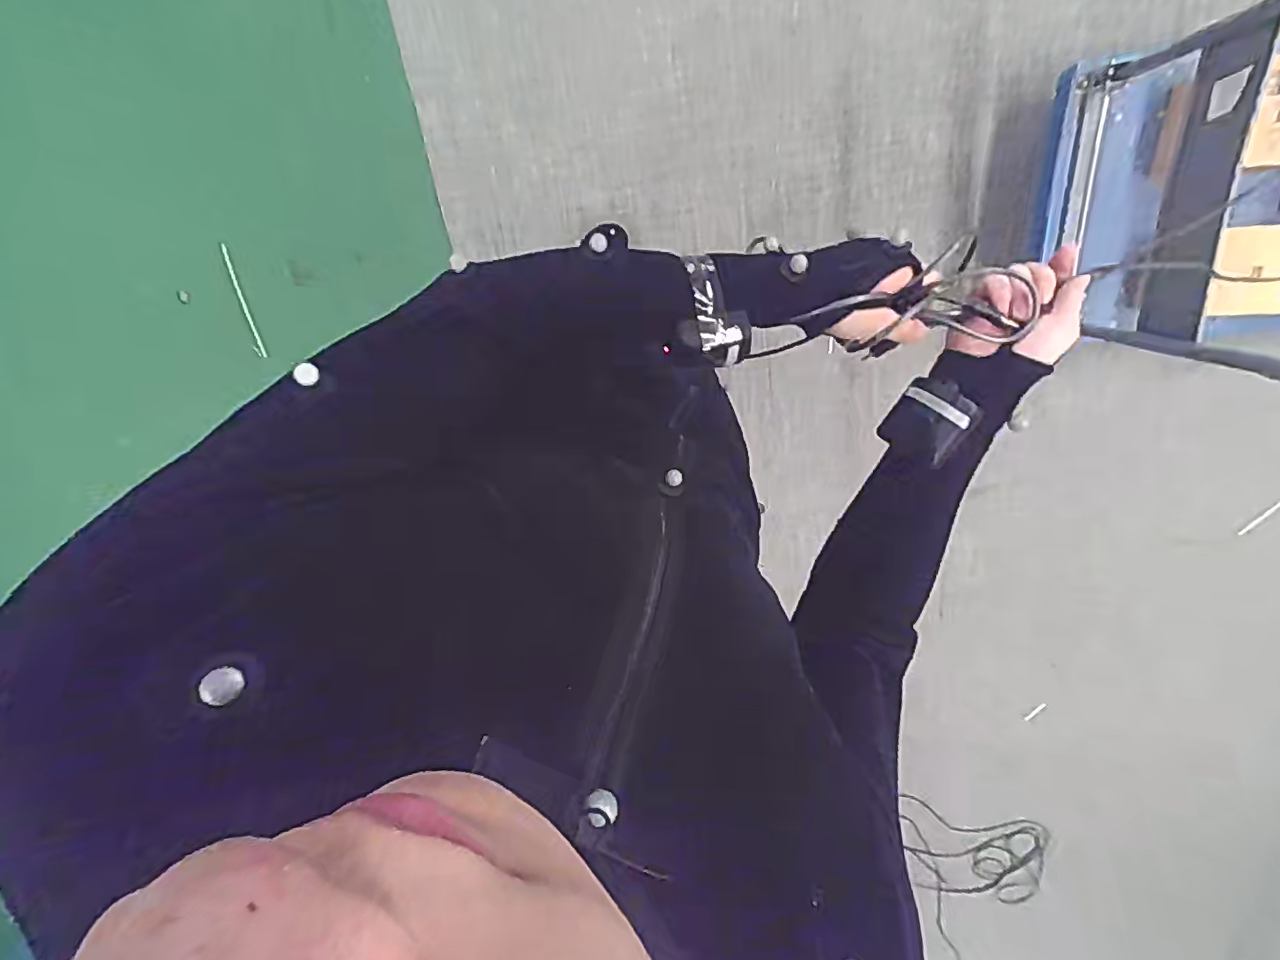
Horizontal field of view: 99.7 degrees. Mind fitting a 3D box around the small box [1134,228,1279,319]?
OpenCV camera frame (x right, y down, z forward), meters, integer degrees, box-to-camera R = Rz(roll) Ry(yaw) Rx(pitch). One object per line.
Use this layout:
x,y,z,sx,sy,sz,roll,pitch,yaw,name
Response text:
1.203,-0.431,1.125,0.179,0.176,0.168,-1,111,7,small box
